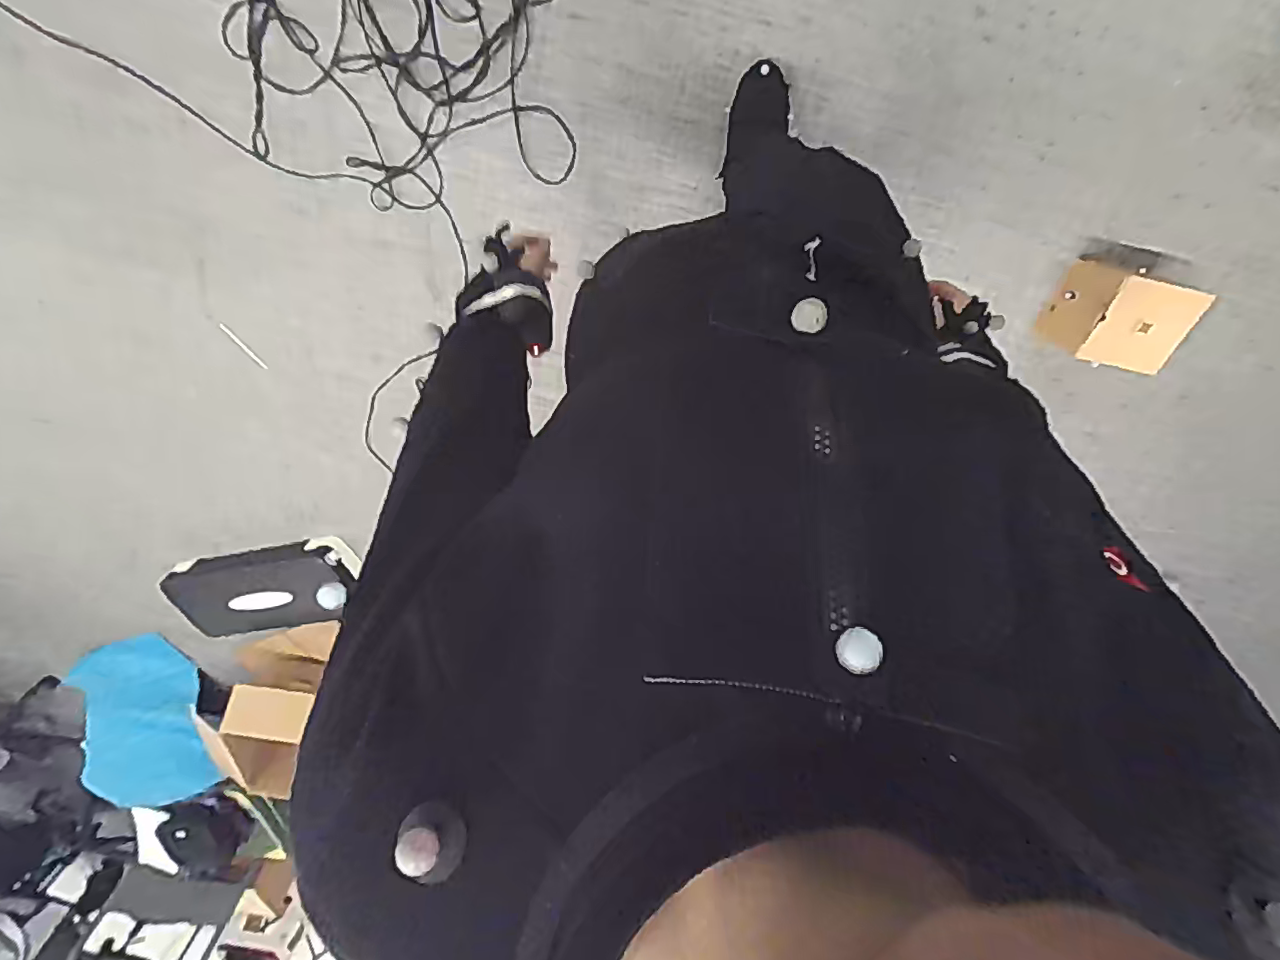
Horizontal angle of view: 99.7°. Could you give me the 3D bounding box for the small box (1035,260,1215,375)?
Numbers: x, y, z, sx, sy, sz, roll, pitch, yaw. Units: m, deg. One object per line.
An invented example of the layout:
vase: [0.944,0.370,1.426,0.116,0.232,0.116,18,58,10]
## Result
small box: [0.972,-0.337,1.105,0.179,0.176,0.168,12,124,-2]
